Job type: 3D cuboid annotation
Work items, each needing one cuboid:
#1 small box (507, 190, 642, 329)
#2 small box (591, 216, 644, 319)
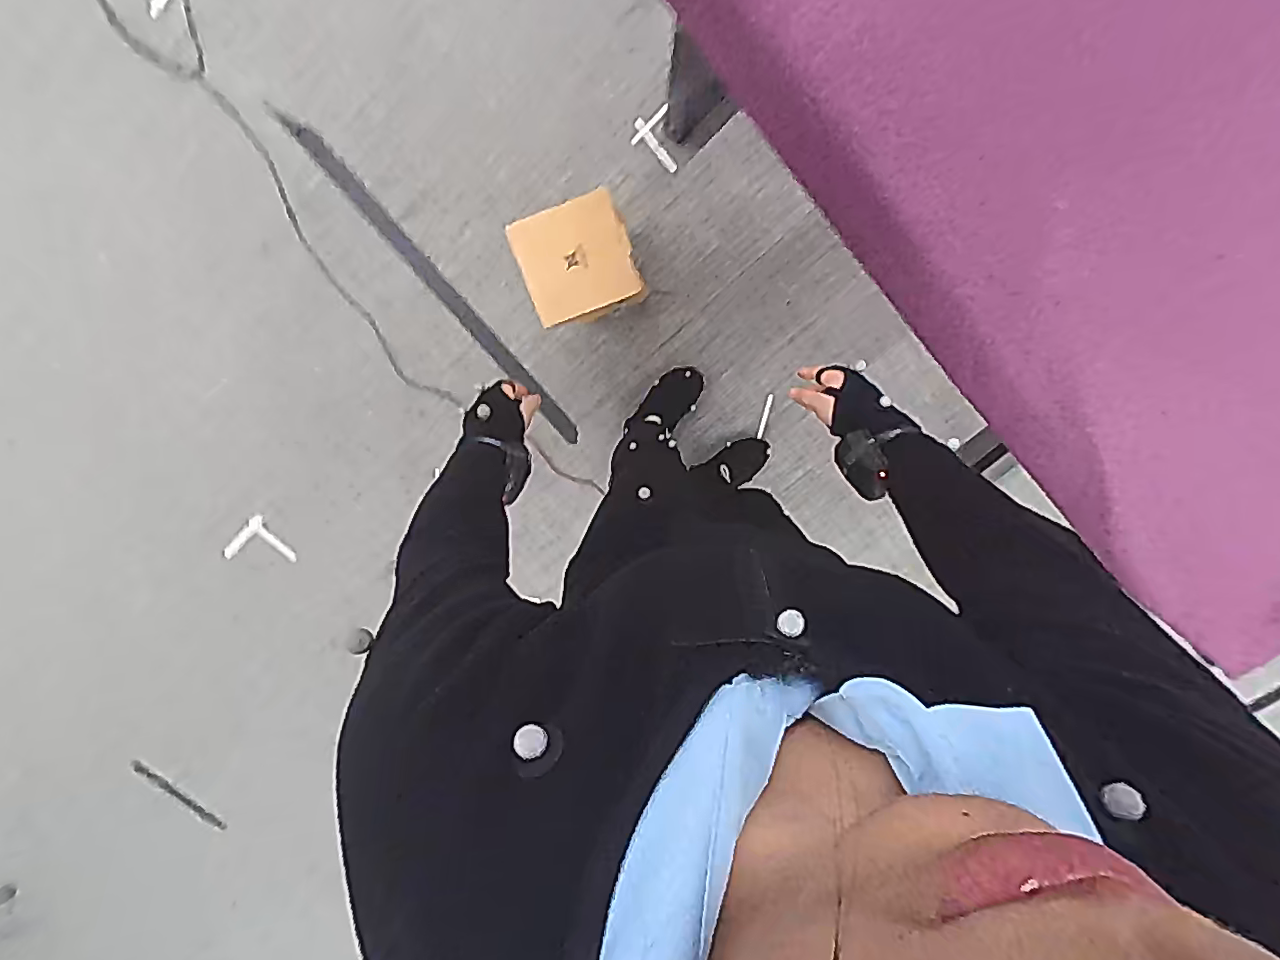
[{"bbox_3d":[-0.102,-0.369,0.937,0.179,0.176,0.168,-20,106,6],"label":"small box"},{"bbox_3d":[-0.095,-0.416,1.093,0.179,0.176,0.168,-13,106,5],"label":"small box"}]
